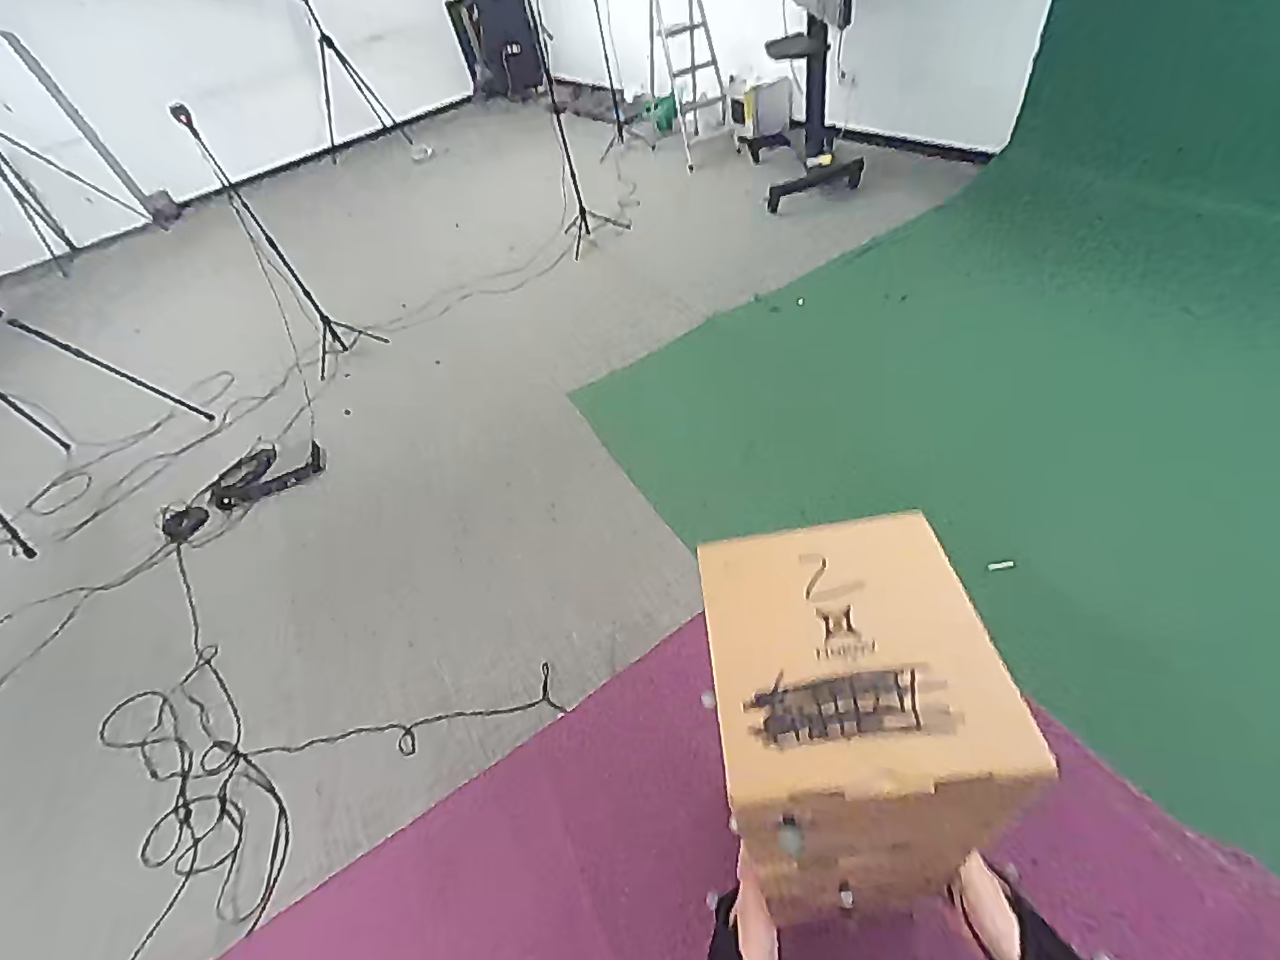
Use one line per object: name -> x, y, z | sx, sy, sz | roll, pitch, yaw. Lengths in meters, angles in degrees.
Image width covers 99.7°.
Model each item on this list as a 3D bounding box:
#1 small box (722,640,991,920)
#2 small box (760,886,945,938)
small box -> 0.175, 0.277, 0.498 | 0.168, 0.176, 0.179 | -11, 45, 5
small box -> 0.208, 0.389, 0.610 | 0.168, 0.176, 0.179 | -12, 45, 6
